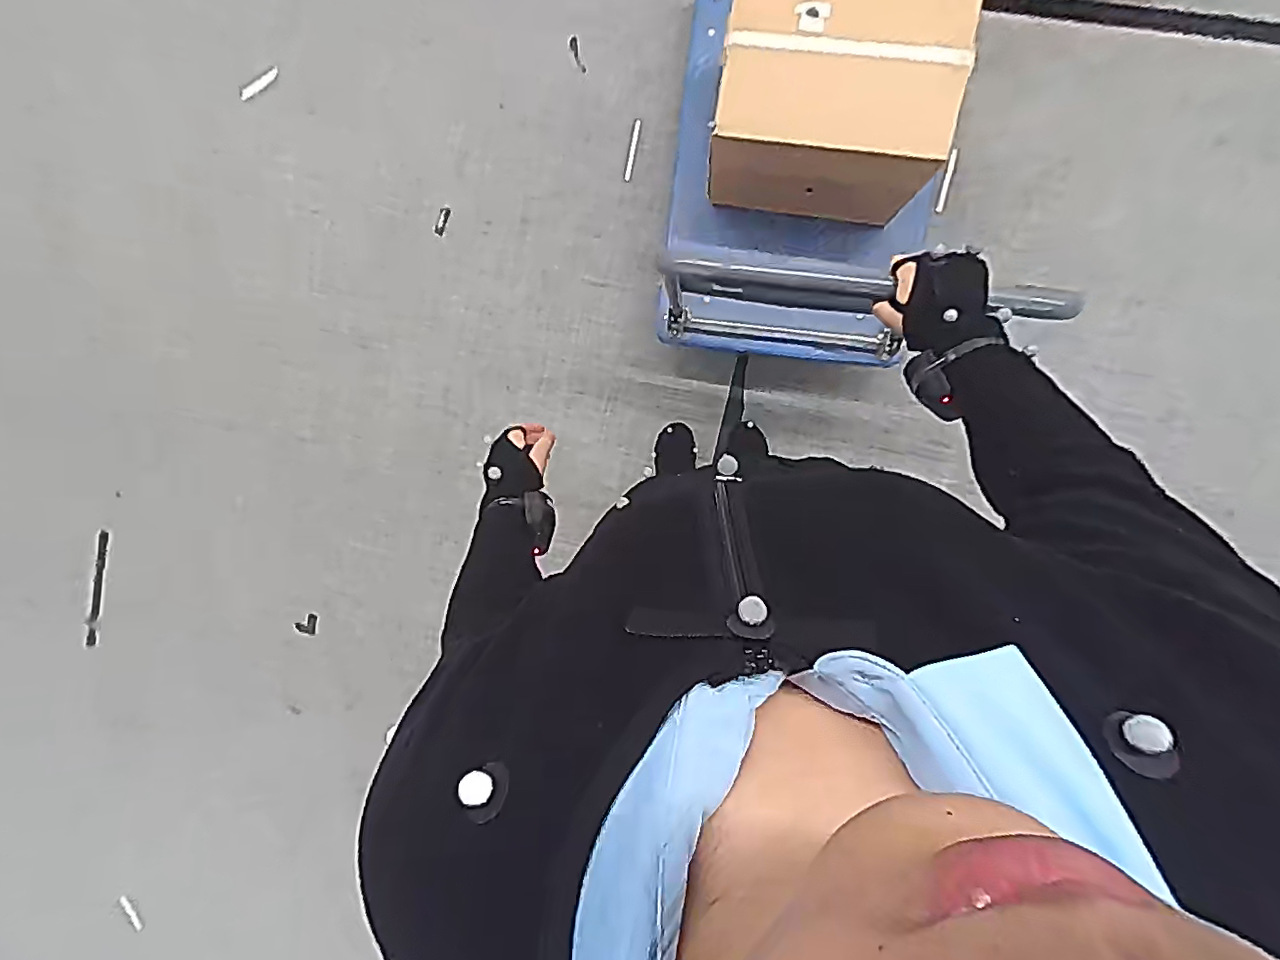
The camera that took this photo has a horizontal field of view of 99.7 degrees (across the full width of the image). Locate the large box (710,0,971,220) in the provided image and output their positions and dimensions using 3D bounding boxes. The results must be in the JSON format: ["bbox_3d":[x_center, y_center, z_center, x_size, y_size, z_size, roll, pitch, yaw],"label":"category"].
[{"bbox_3d":[0.364,-0.746,1.080,0.408,0.320,0.320,9,96,6],"label":"large box"}]
